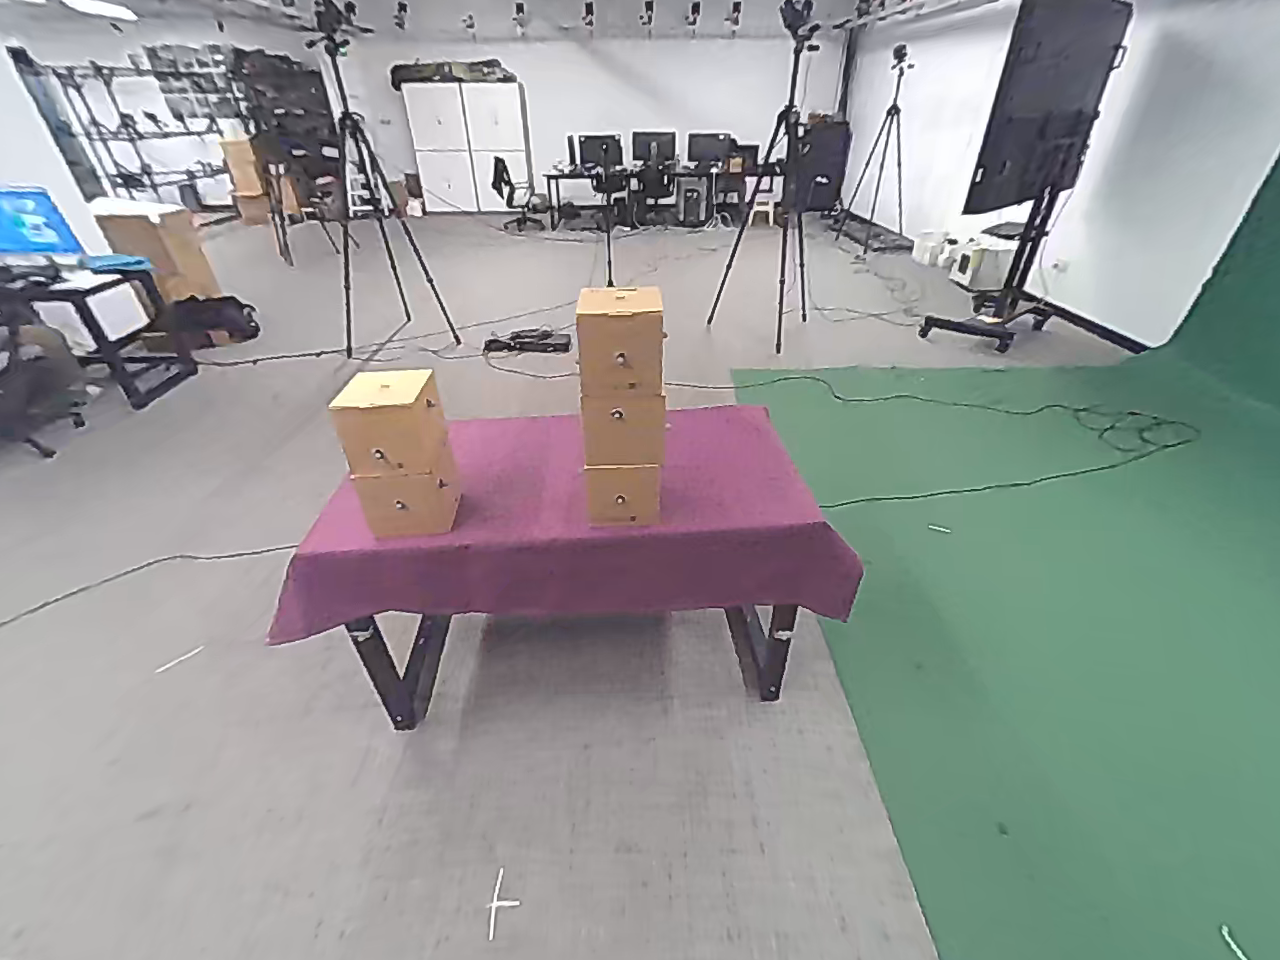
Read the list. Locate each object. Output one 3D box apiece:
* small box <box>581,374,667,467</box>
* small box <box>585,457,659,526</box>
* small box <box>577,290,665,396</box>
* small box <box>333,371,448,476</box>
[{"bbox_3d":[-0.032,-0.140,1.196,0.179,0.176,0.168,0,35,-1],"label":"small box"},{"bbox_3d":[-0.039,-0.002,1.287,0.168,0.176,0.179,-1,34,-1],"label":"small box"},{"bbox_3d":[-0.034,-0.280,1.110,0.168,0.176,0.179,0,35,-1],"label":"small box"},{"bbox_3d":[-0.528,-0.125,1.177,0.168,0.176,0.179,-3,35,-3],"label":"small box"}]
